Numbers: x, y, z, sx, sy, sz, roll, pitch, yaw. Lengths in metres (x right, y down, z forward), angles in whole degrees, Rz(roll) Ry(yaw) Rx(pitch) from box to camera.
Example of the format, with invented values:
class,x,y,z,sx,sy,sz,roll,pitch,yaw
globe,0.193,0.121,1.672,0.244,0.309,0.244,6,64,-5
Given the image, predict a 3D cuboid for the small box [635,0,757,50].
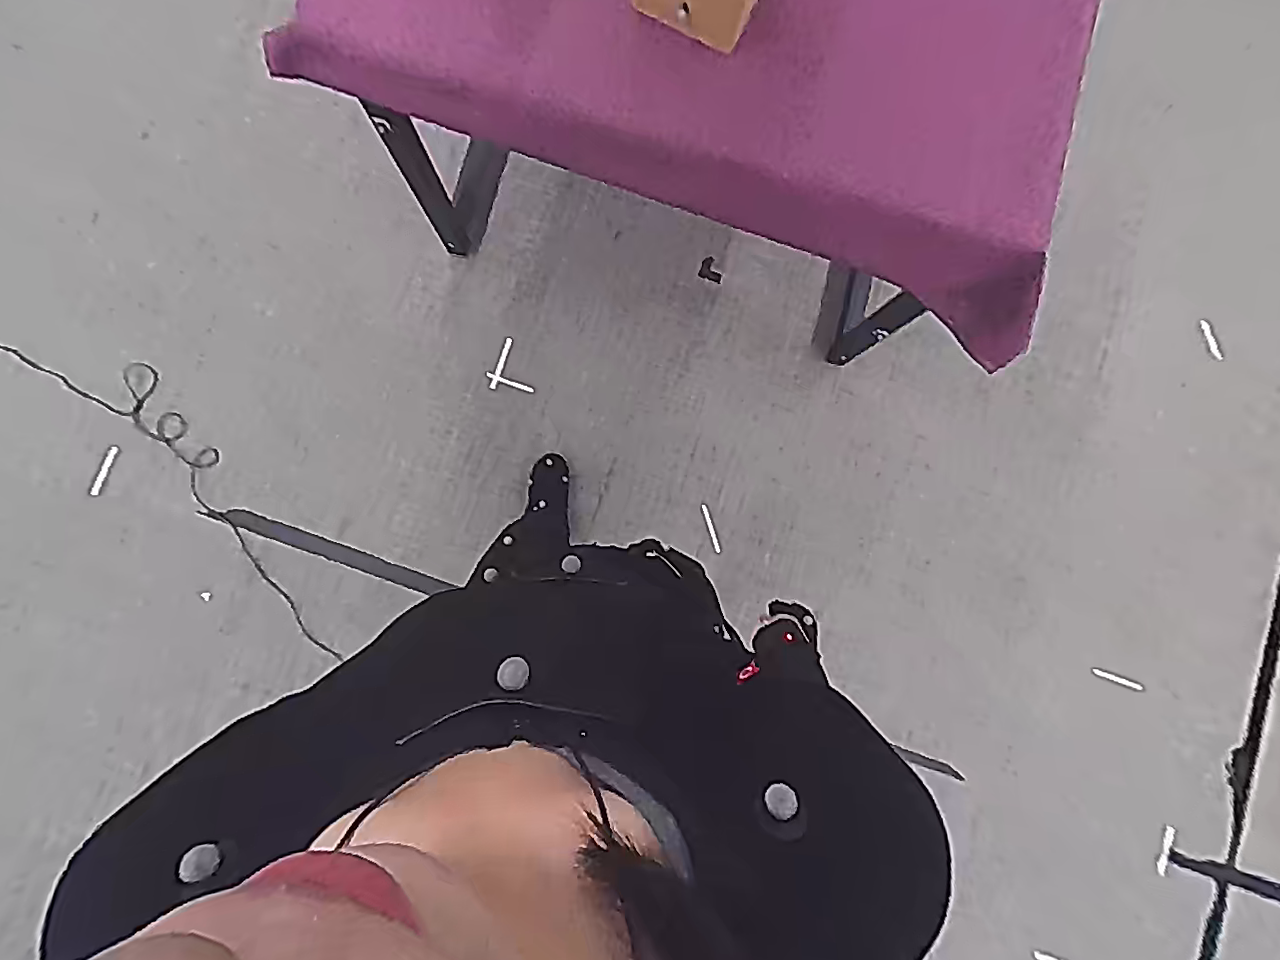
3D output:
class,x,y,z,sx,sy,sz,roll,pitch,yaw
small box,0.105,-0.775,0.773,0.179,0.176,0.168,25,84,-2
